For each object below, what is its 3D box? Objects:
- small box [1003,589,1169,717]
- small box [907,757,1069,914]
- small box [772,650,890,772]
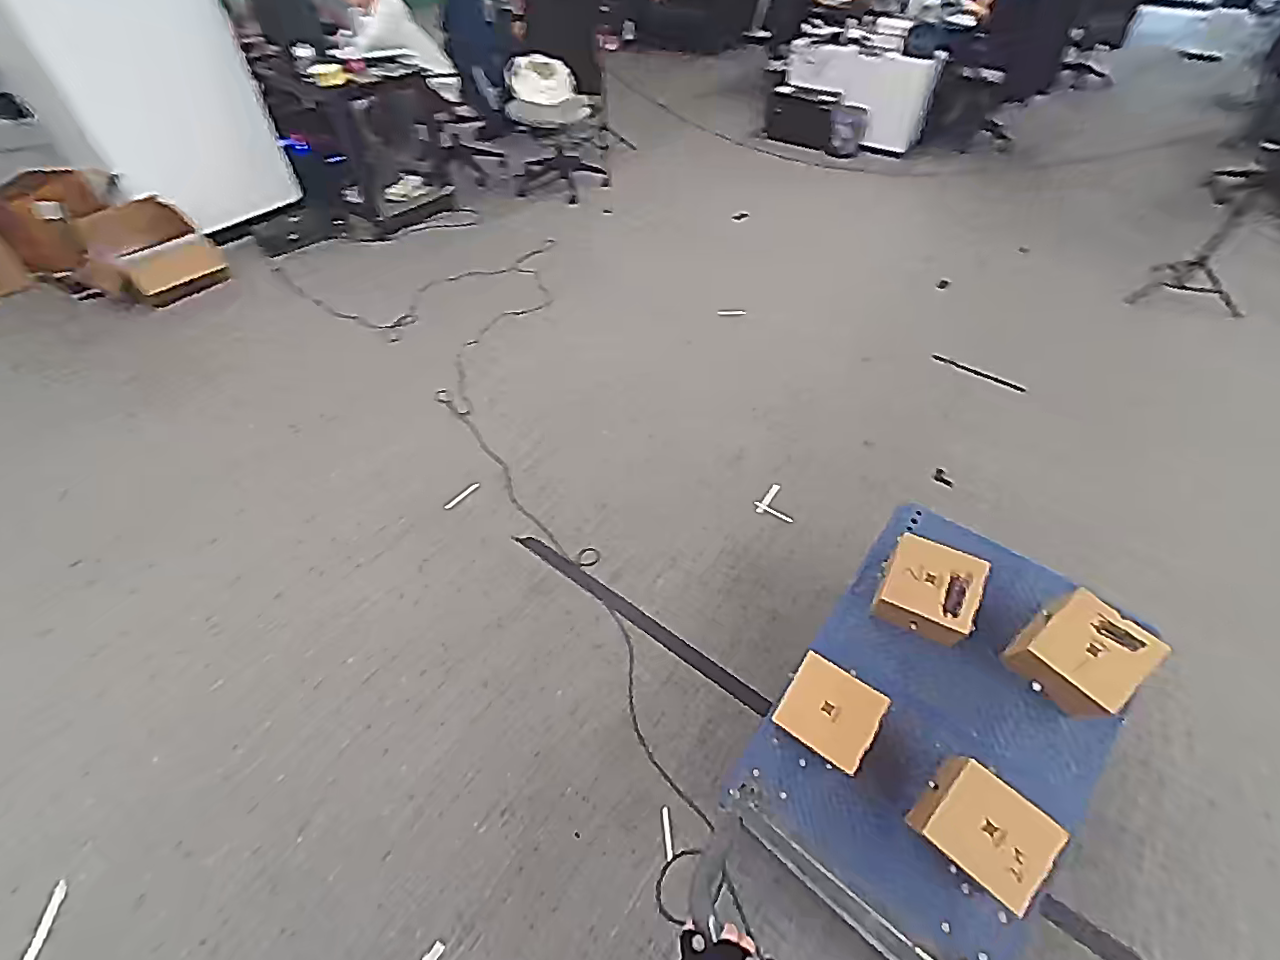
[{"bbox_3d":[0.884,0.353,1.095,0.179,0.176,0.168,-42,62,-7],"label":"small box"},{"bbox_3d":[0.634,0.650,1.012,0.179,0.176,0.168,38,78,26],"label":"small box"},{"bbox_3d":[0.395,0.491,1.149,0.179,0.176,0.168,30,74,23],"label":"small box"}]
